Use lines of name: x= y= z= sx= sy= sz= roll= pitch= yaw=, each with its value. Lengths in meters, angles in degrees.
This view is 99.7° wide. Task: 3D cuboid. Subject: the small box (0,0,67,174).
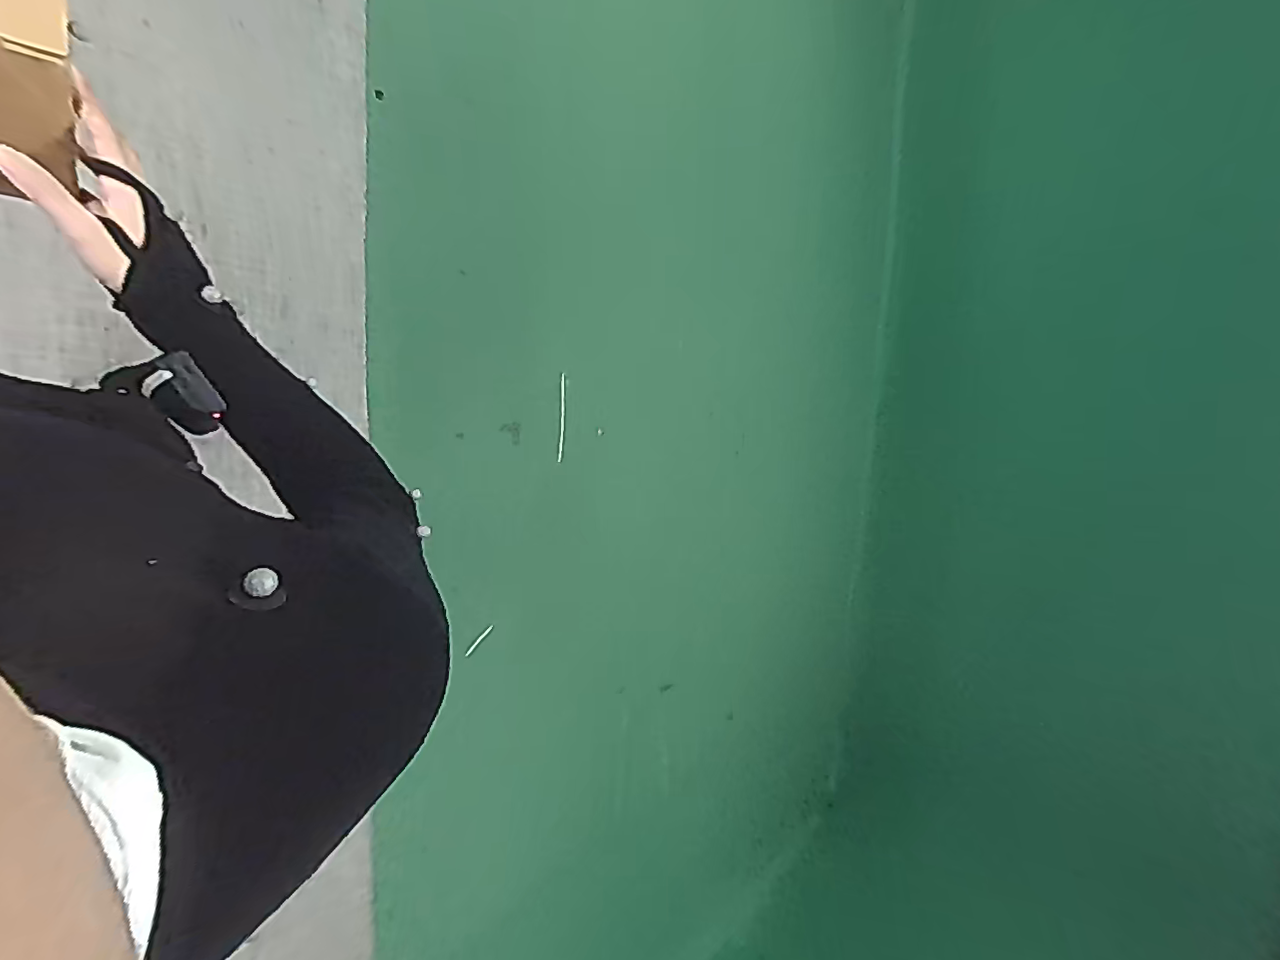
small box: x=-0.524 y=-0.357 z=0.373 sx=0.168 sy=0.176 sz=0.179 roll=-5 pitch=77 yaw=-45
